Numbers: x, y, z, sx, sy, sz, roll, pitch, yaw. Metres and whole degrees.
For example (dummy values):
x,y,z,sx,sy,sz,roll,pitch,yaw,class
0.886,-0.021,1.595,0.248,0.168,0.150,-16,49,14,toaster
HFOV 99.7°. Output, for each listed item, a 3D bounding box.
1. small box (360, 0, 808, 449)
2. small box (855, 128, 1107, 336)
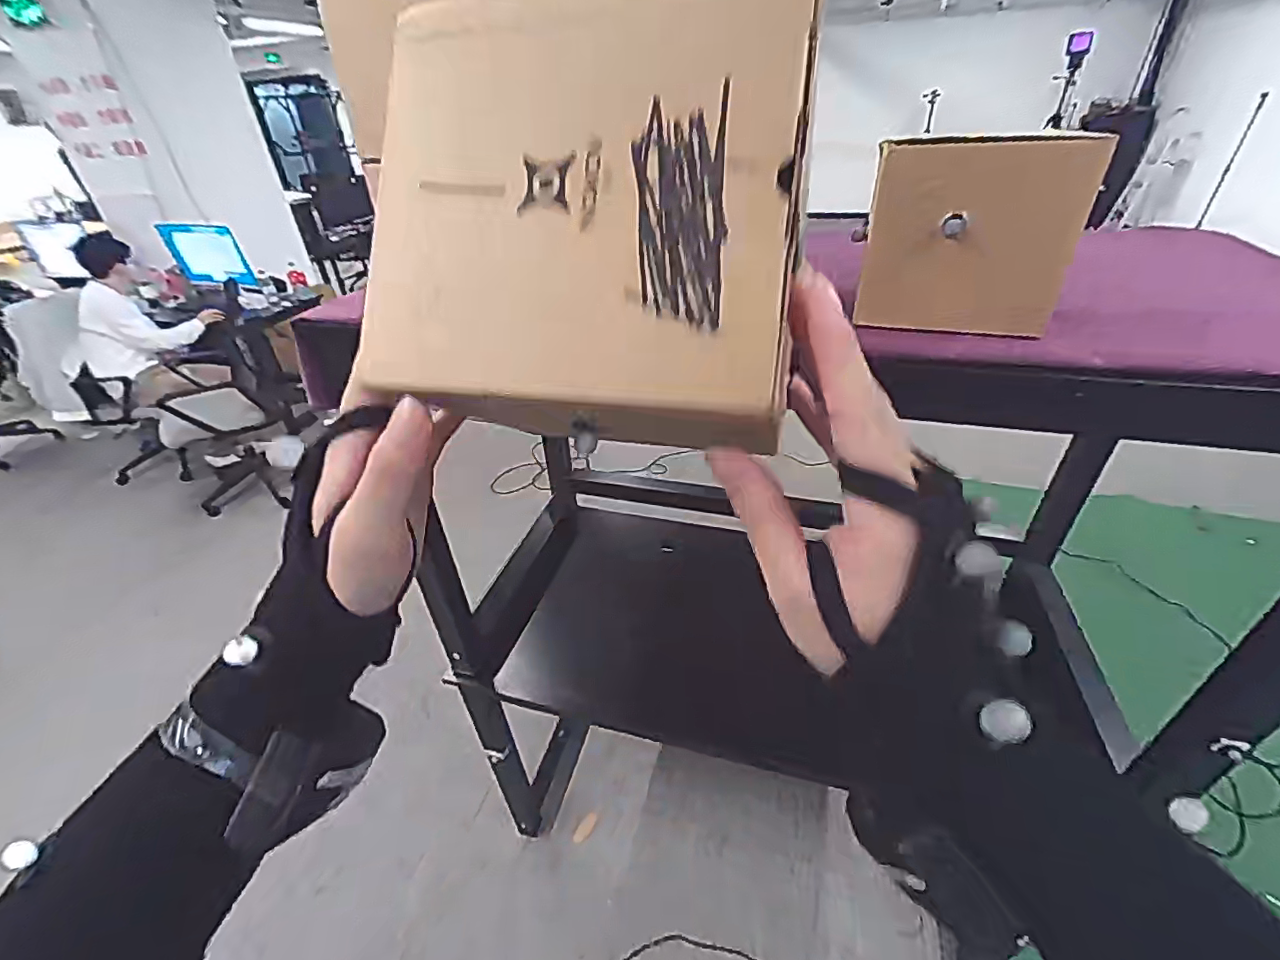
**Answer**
x,y,z,sx,sy,sz,roll,pitch,yaw,class
-0.009,-0.111,0.290,0.179,0.168,0.176,6,-2,18,small box
0.326,-0.257,0.562,0.179,0.176,0.168,8,36,19,small box
